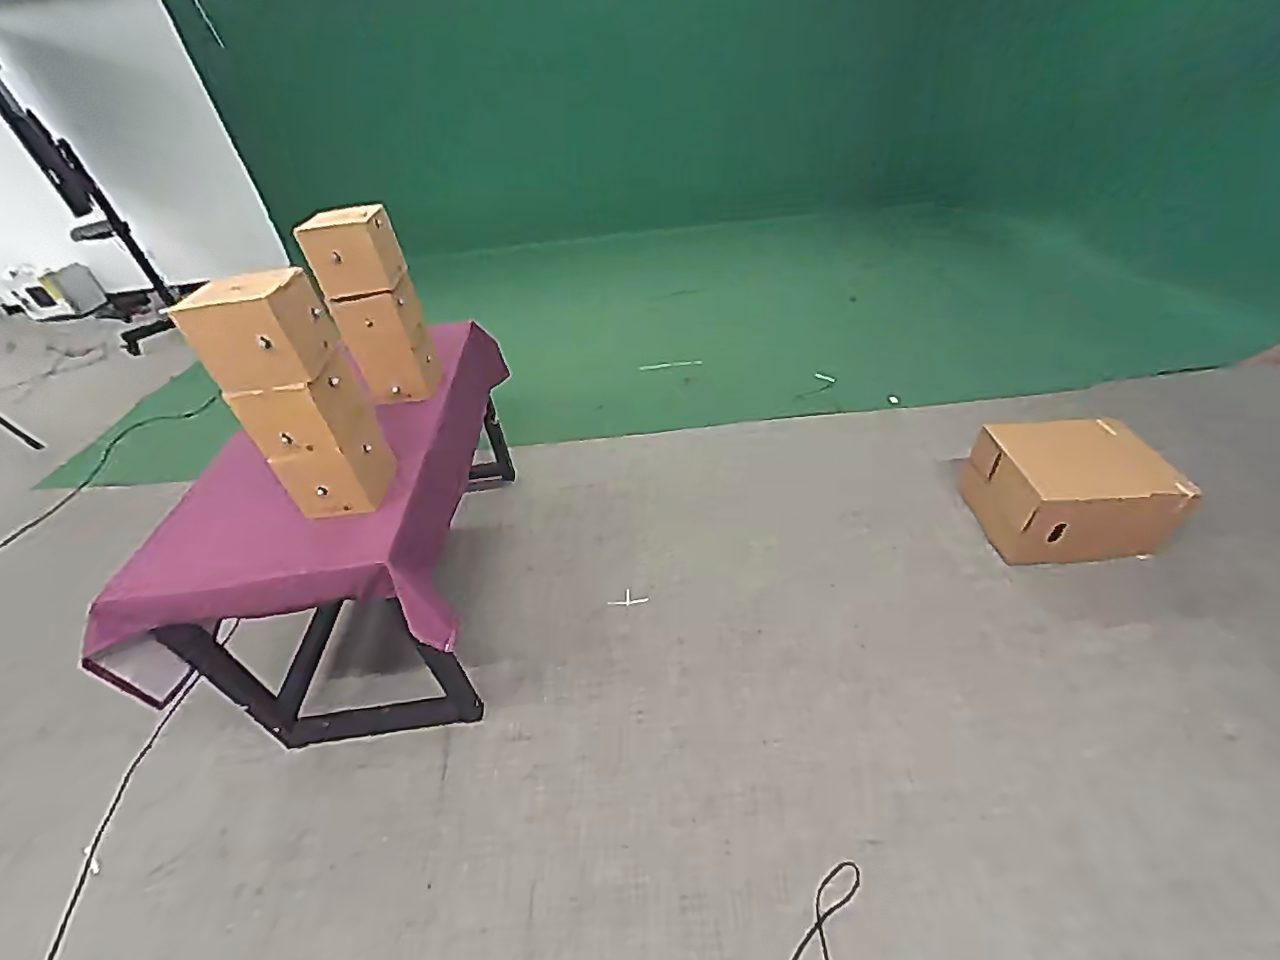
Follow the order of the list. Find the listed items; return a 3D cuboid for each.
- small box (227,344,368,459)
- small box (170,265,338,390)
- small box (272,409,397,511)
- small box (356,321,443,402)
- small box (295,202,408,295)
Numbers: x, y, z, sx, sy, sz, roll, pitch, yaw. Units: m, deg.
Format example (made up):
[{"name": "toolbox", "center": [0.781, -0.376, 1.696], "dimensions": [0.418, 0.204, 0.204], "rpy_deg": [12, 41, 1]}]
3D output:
[{"name": "small box", "center": [-0.708, -0.167, 1.146], "dimensions": [0.168, 0.176, 0.179], "rpy_deg": [-6, 41, 2]}, {"name": "small box", "center": [-0.723, -0.292, 1.043], "dimensions": [0.179, 0.176, 0.168], "rpy_deg": [-8, 40, 1]}, {"name": "small box", "center": [-0.689, -0.040, 1.248], "dimensions": [0.168, 0.176, 0.179], "rpy_deg": [-6, 40, 2]}, {"name": "small box", "center": [-0.708, -0.354, 1.619], "dimensions": [0.168, 0.176, 0.179], "rpy_deg": [-7, 41, 2]}, {"name": "small box", "center": [-0.732, -0.593, 1.392], "dimensions": [0.179, 0.176, 0.168], "rpy_deg": [-9, 41, 1]}]
